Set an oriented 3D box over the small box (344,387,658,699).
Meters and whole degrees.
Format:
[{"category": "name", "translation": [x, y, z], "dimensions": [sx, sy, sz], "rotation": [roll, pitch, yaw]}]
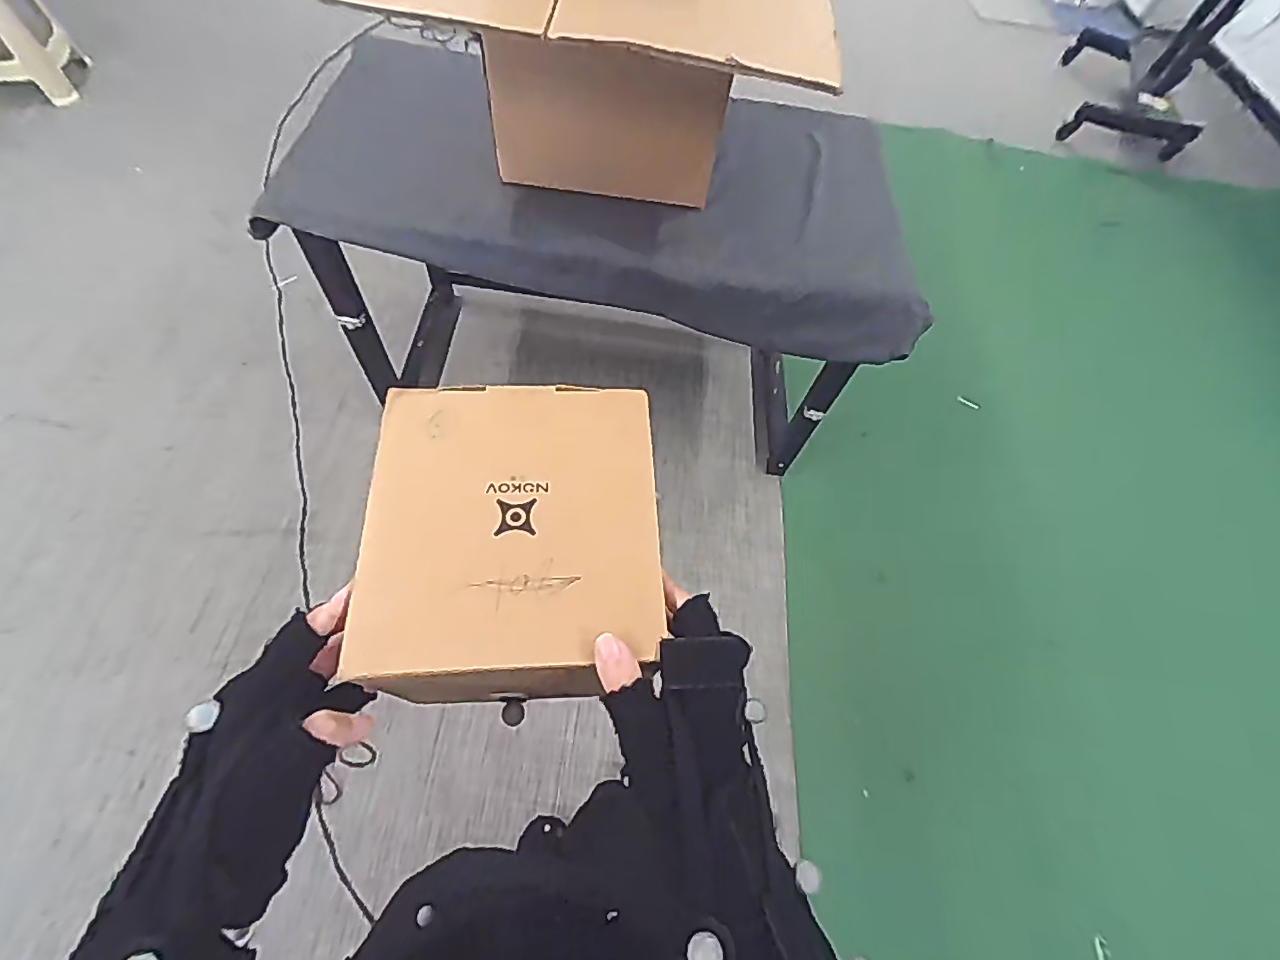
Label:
[{"category": "small box", "translation": [-0.082, 0.054, 0.391], "dimensions": [0.168, 0.176, 0.179], "rotation": [-1, 63, -6]}]
